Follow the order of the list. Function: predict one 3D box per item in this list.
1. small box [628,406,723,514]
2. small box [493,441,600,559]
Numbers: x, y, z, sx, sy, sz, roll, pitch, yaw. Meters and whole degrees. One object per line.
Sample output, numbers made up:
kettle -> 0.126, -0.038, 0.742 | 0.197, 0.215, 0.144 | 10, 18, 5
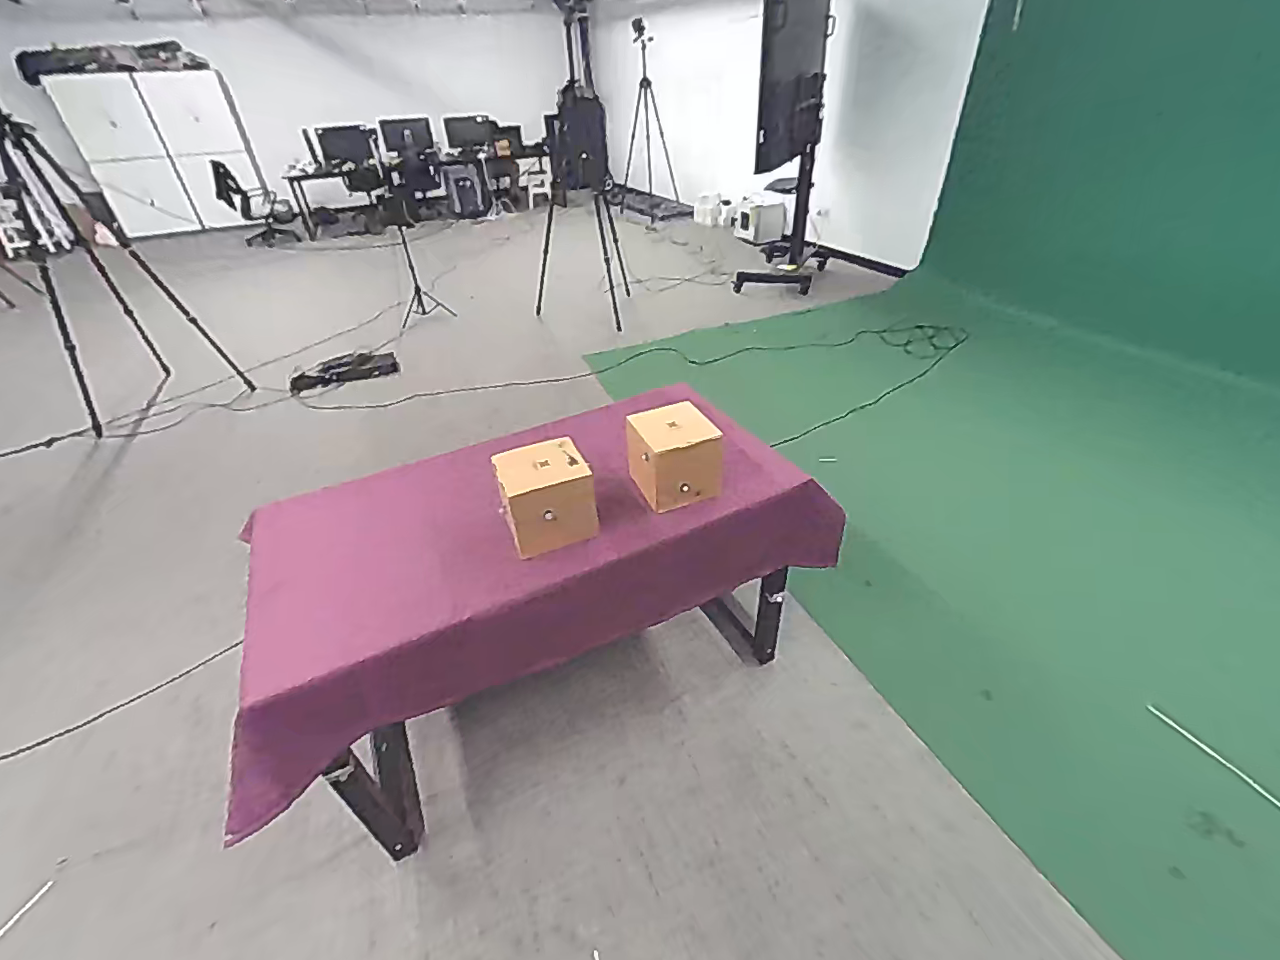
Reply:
small box -> 0.079, -0.048, 1.272 | 0.168, 0.176, 0.179 | -16, 38, -16
small box -> -0.199, 0.043, 1.168 | 0.179, 0.176, 0.168 | -17, 38, -17
